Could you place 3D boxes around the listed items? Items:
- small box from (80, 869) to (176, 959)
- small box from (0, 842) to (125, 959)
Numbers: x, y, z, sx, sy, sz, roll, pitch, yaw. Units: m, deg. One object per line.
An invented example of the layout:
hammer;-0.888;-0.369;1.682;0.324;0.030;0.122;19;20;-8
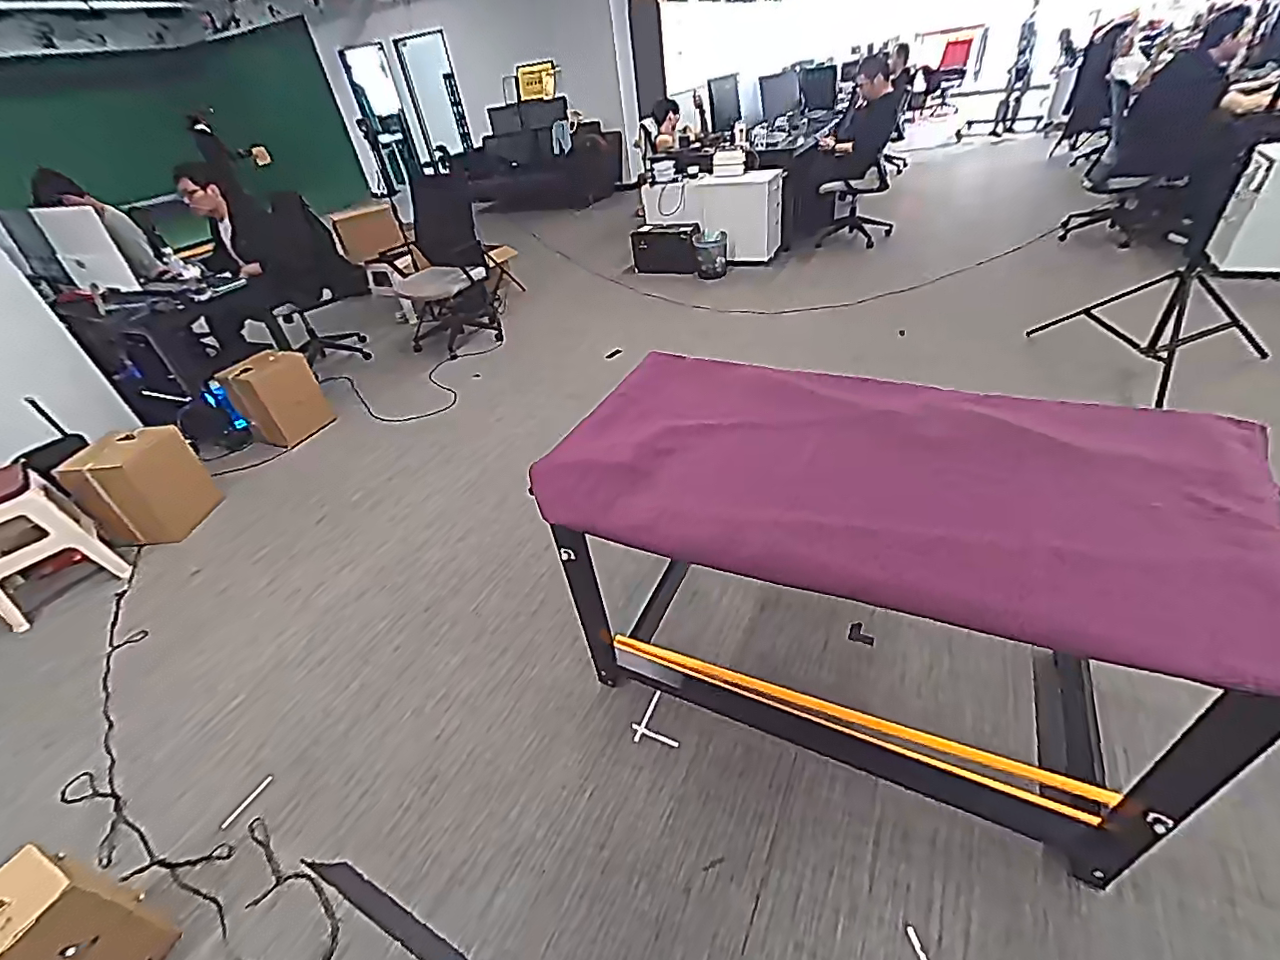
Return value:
small box;-1.151;0.977;1.140;0.179;0.176;0.168;13;43;24
small box;-1.169;0.847;1.039;0.179;0.176;0.168;12;43;23
